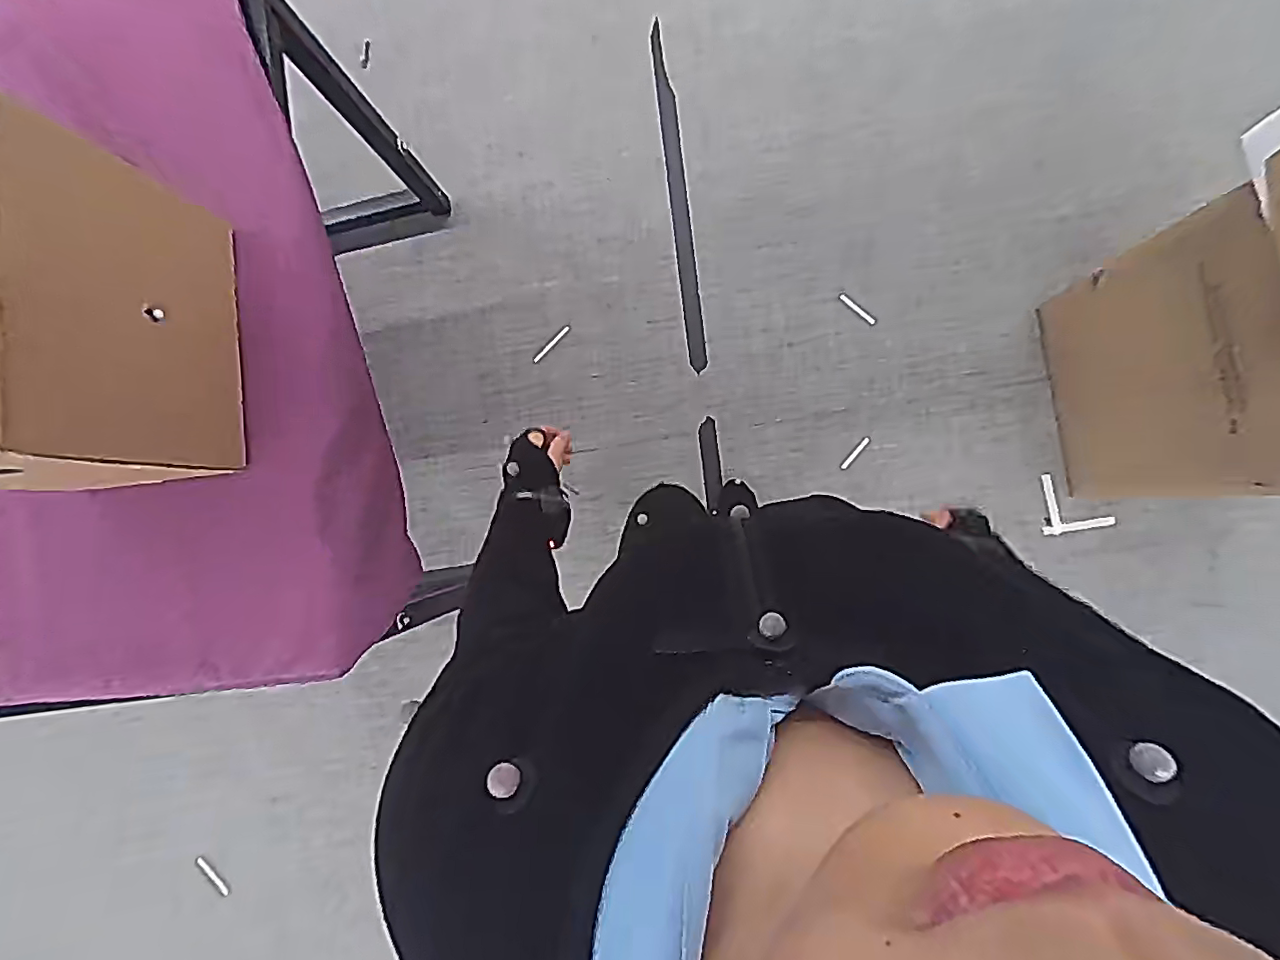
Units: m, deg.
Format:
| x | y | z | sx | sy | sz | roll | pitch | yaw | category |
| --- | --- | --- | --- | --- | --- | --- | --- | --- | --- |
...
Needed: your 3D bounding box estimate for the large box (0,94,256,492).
| x | y | z | sx | sy | sz | roll | pitch | yaw | category |
| --- | --- | --- | --- | --- | --- | --- | --- | --- | --- |
| -0.794 | -0.202 | 0.732 | 0.320 | 0.320 | 0.408 | -7 | 88 | 8 | large box |
